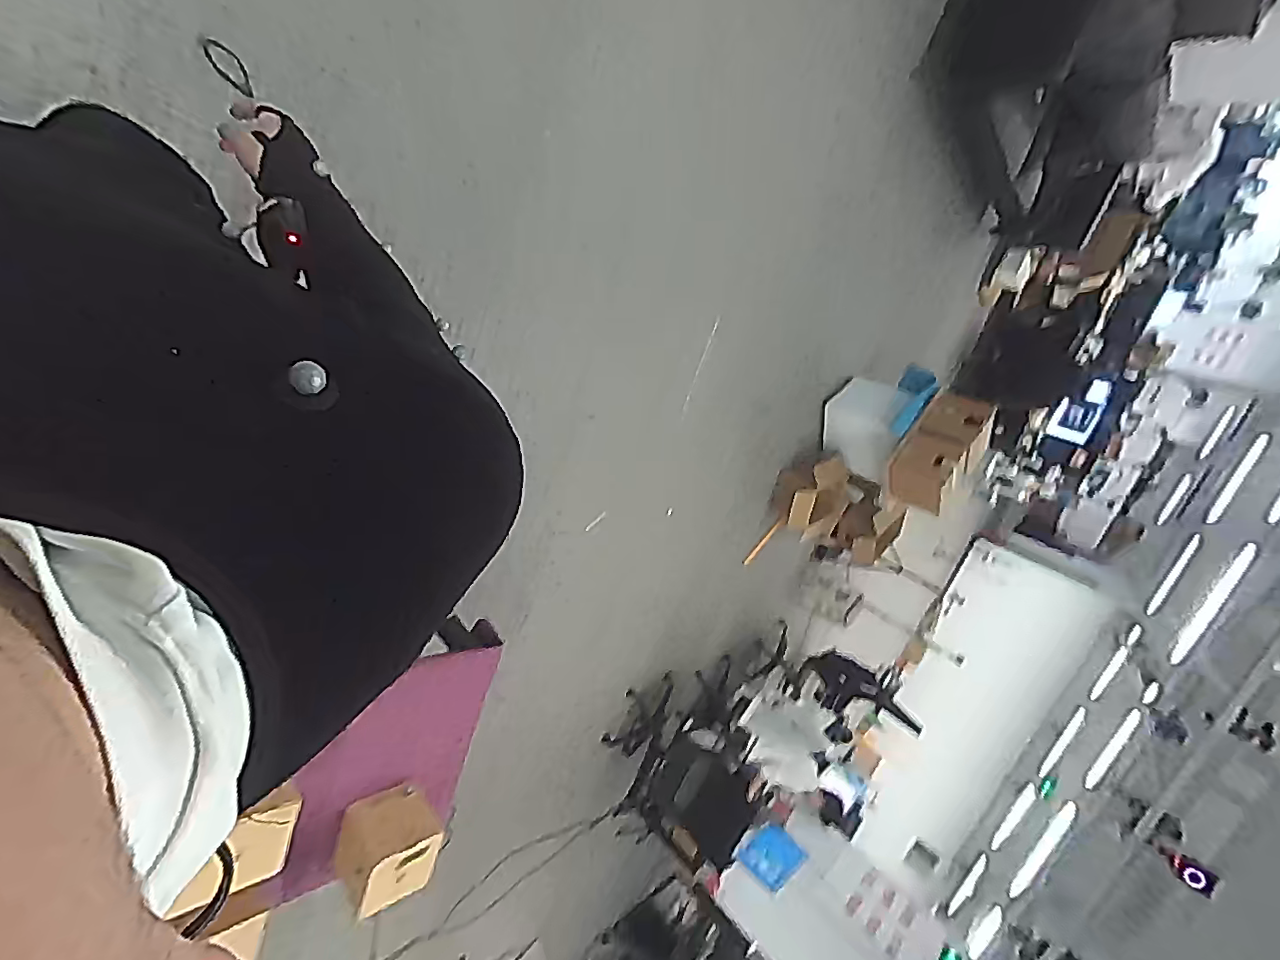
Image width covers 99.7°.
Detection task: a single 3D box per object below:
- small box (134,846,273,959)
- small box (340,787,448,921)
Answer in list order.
[{"bbox_3d":[-0.821,0.845,1.013,0.168,0.176,0.179,5,110,-50],"label":"small box"},{"bbox_3d":[-0.587,0.869,1.284,0.168,0.176,0.179,4,111,-49],"label":"small box"}]
